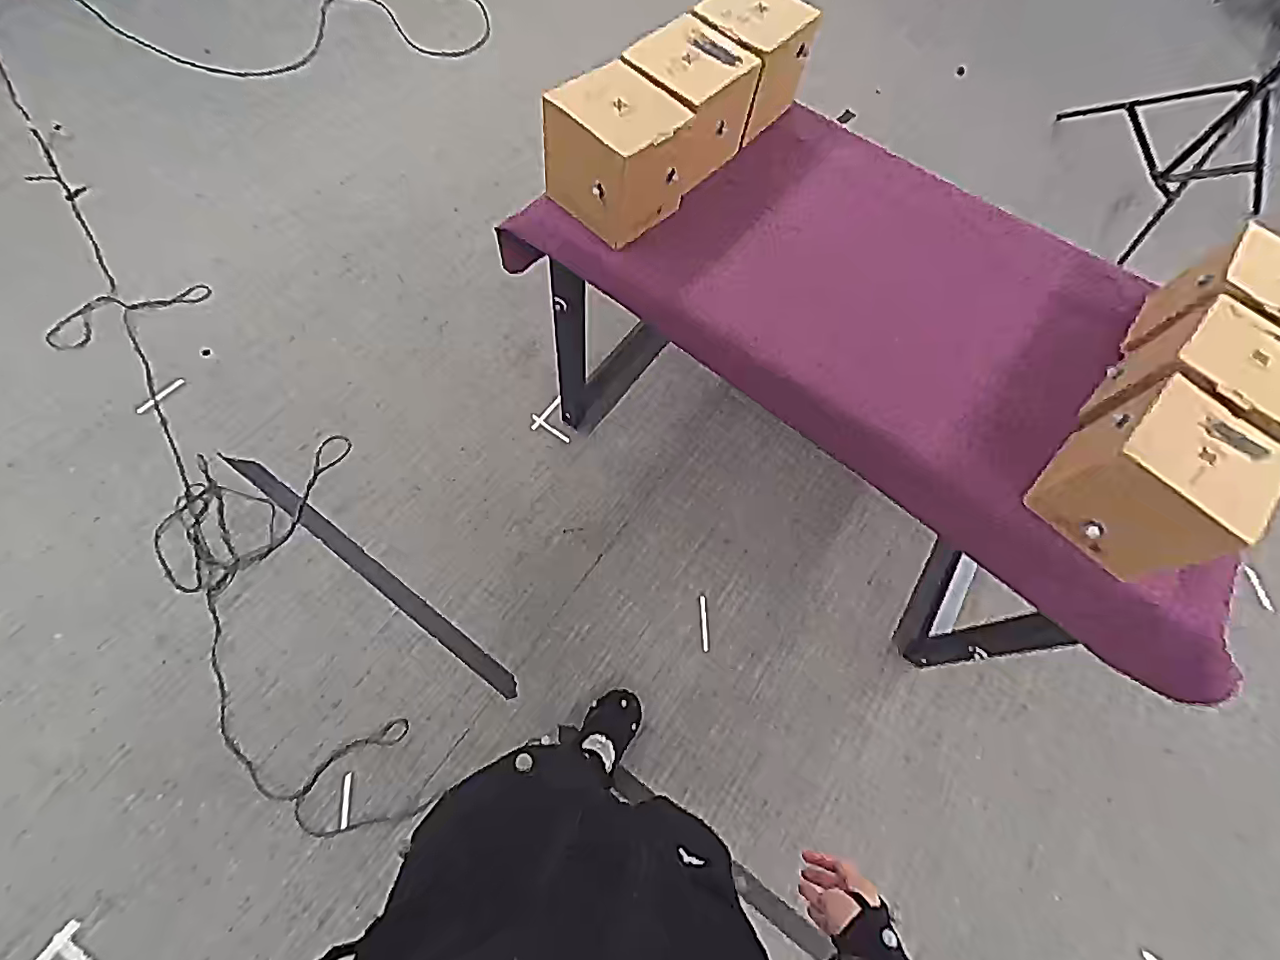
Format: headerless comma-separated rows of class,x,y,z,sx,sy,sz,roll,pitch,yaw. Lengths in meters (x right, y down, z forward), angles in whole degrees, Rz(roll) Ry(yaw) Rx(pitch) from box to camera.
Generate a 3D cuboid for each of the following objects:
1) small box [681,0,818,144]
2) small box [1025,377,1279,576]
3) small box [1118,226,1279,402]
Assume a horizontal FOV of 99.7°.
small box,0.195,-0.784,1.017,0.168,0.176,0.179,39,69,11
small box,0.680,0.002,0.735,0.179,0.176,0.168,-39,74,-20
small box,0.935,-0.259,0.873,0.168,0.176,0.179,39,68,10
